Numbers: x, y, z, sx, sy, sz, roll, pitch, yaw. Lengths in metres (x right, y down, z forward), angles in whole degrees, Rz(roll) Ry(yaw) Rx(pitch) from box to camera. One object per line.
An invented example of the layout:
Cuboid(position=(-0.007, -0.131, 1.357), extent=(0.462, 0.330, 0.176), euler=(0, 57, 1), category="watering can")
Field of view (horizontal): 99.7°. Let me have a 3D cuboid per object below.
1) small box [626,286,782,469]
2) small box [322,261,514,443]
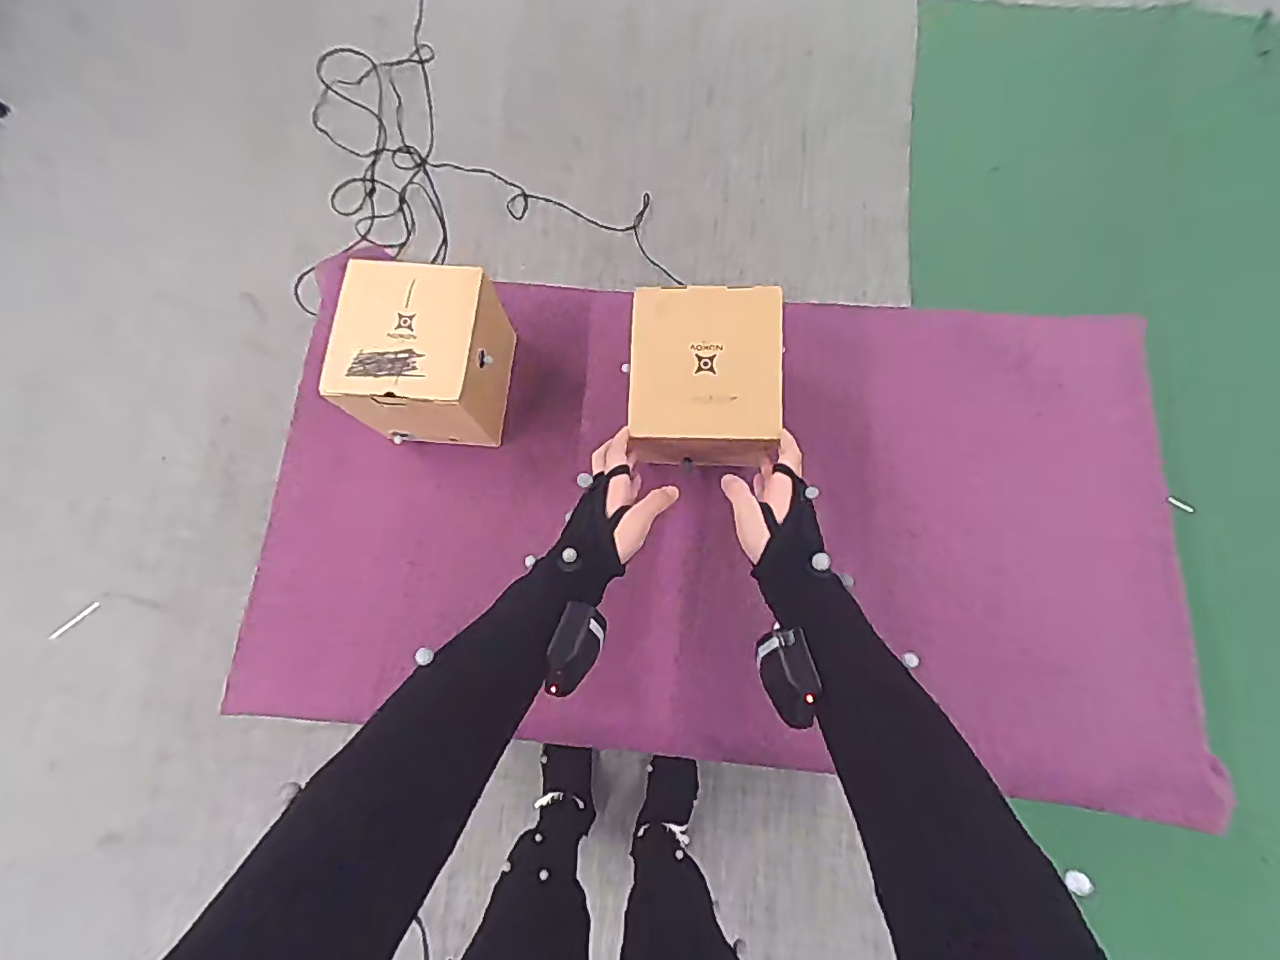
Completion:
Cuboid(position=(0.077, -0.118, 0.668), extent=(0.168, 0.176, 0.179), euler=(2, 81, 6), category="small box")
Cuboid(position=(-0.272, -0.156, 0.708), extent=(0.168, 0.176, 0.179), euler=(5, 76, 2), category="small box")
